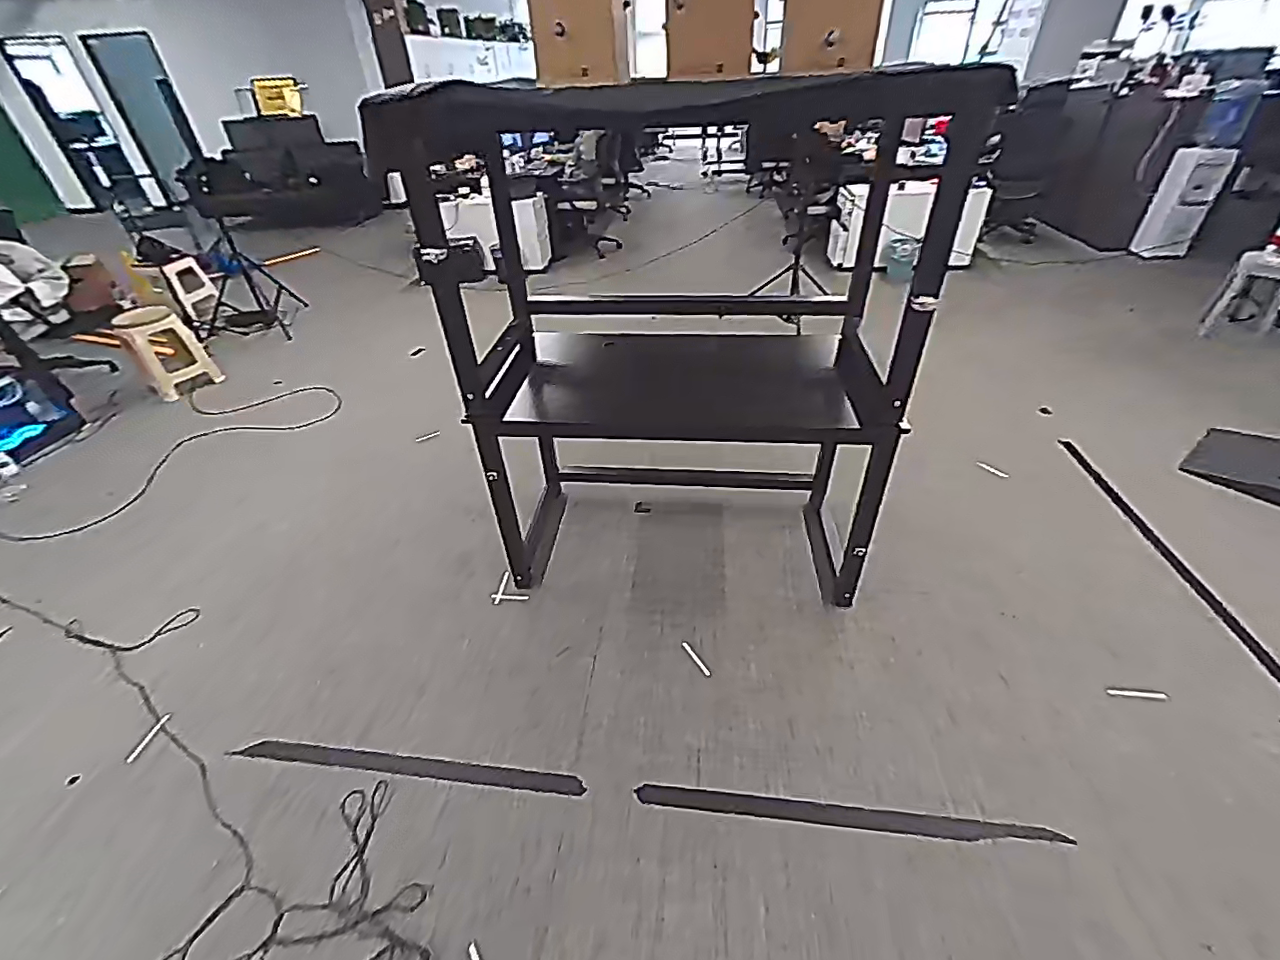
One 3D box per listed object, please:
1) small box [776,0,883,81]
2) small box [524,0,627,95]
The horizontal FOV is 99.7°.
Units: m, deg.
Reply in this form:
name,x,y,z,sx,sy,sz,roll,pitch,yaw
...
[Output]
name,x,y,z,sx,sy,sz,roll,pitch,yaw
small box,0.354,-0.868,1.031,0.168,0.176,0.179,2,37,8
small box,-0.121,-0.894,1.103,0.168,0.176,0.179,3,36,8
